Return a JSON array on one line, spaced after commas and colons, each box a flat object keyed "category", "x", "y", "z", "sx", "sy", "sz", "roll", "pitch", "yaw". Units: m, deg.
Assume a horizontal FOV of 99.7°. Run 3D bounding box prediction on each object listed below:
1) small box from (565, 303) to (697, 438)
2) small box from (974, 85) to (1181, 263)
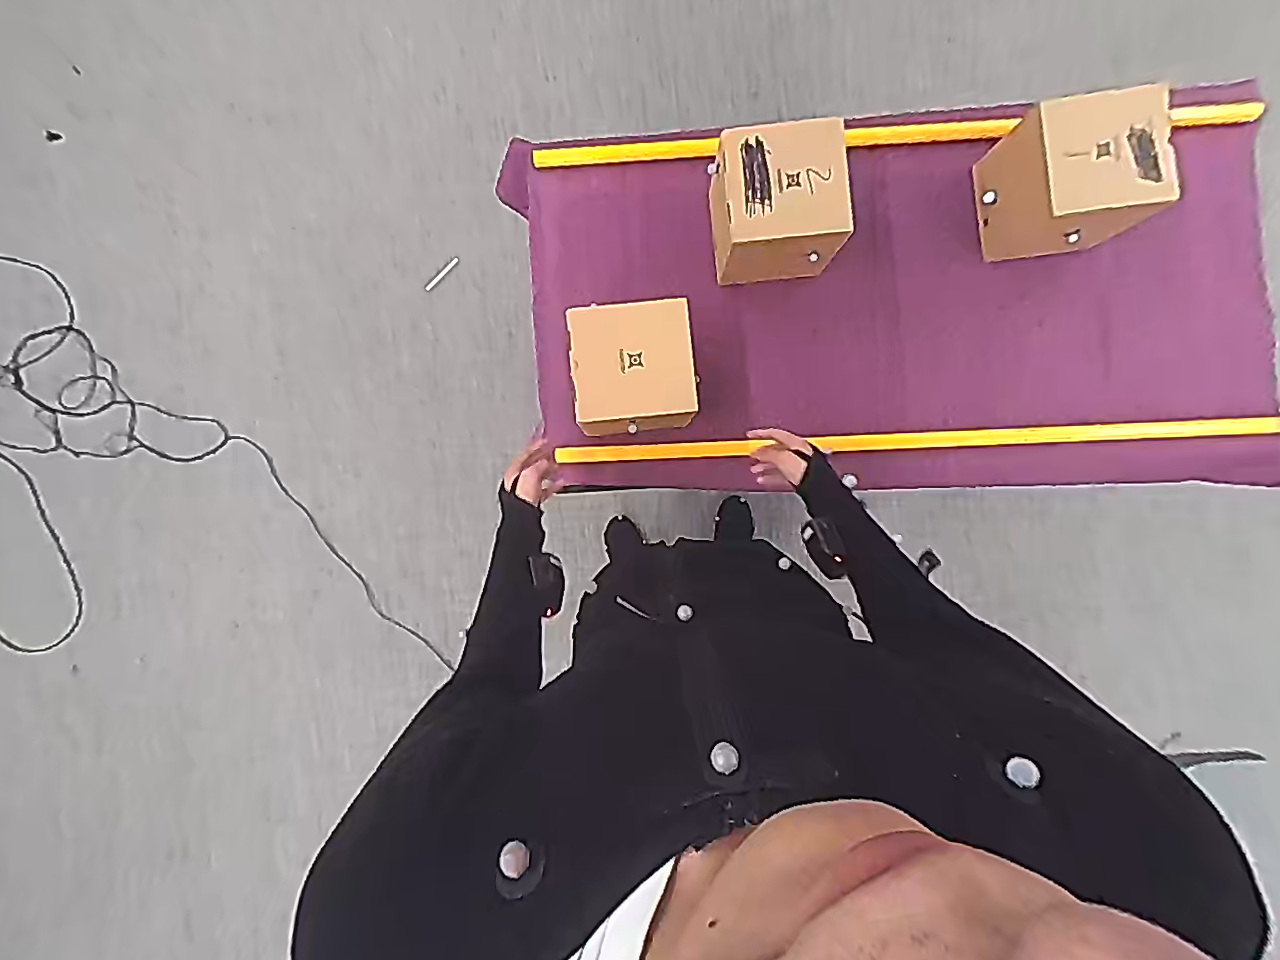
[{"category": "small box", "x": -0.013, "y": -0.161, "z": 0.840, "sx": 0.179, "sy": 0.176, "sz": 0.168, "roll": -6, "pitch": 88, "yaw": 1}, {"category": "small box", "x": 0.649, "y": -0.451, "z": 0.823, "sx": 0.179, "sy": 0.176, "sz": 0.168, "roll": -7, "pitch": 90, "yaw": 3}]
